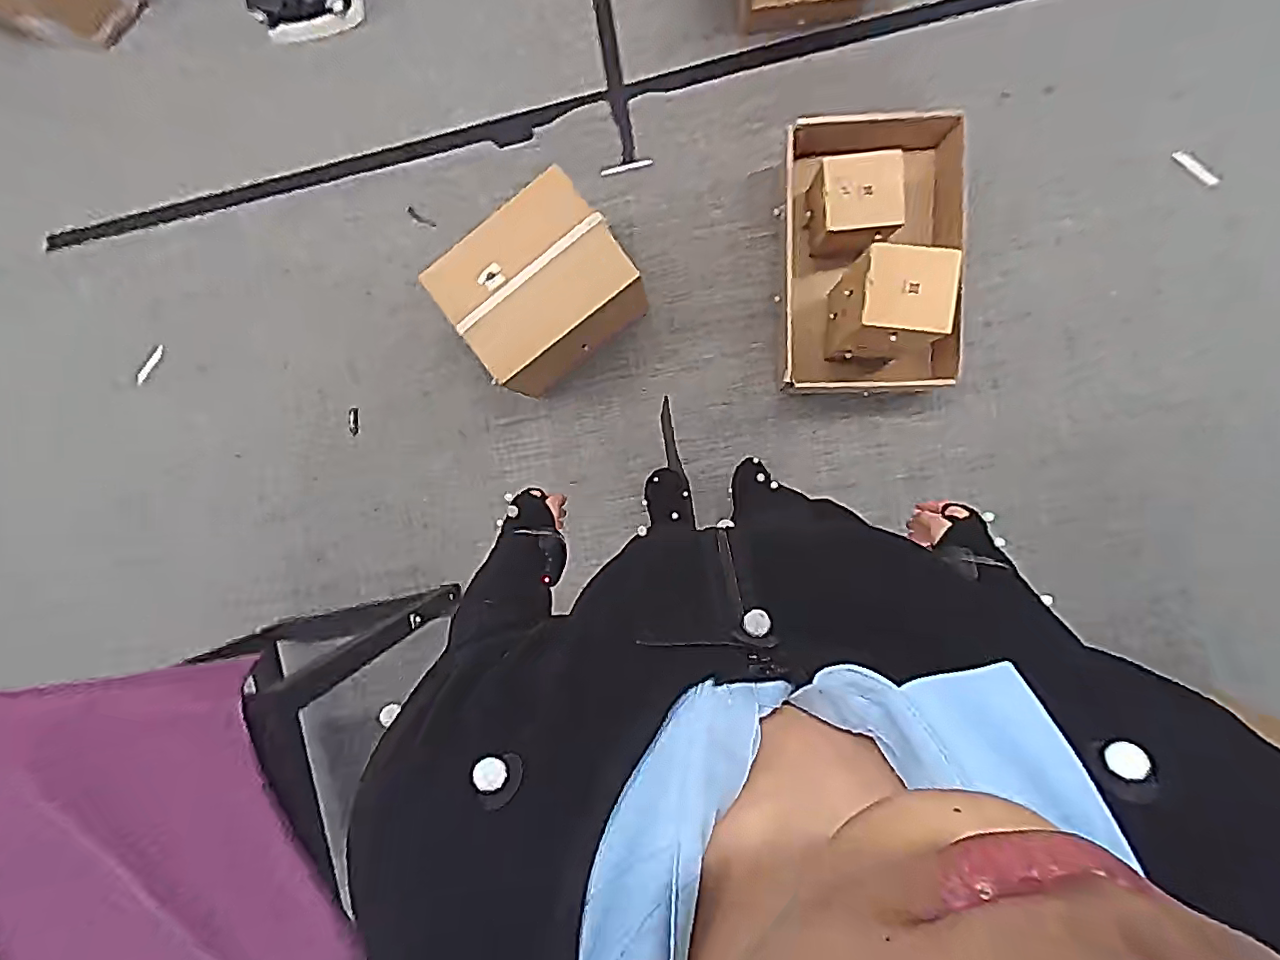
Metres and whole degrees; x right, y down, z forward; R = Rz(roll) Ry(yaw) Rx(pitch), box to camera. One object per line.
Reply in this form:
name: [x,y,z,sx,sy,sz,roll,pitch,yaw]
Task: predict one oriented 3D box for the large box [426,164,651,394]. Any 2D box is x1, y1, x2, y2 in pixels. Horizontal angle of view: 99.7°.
large box: [-0.226,-0.463,1.344,0.408,0.320,0.320,-37,89,7]
